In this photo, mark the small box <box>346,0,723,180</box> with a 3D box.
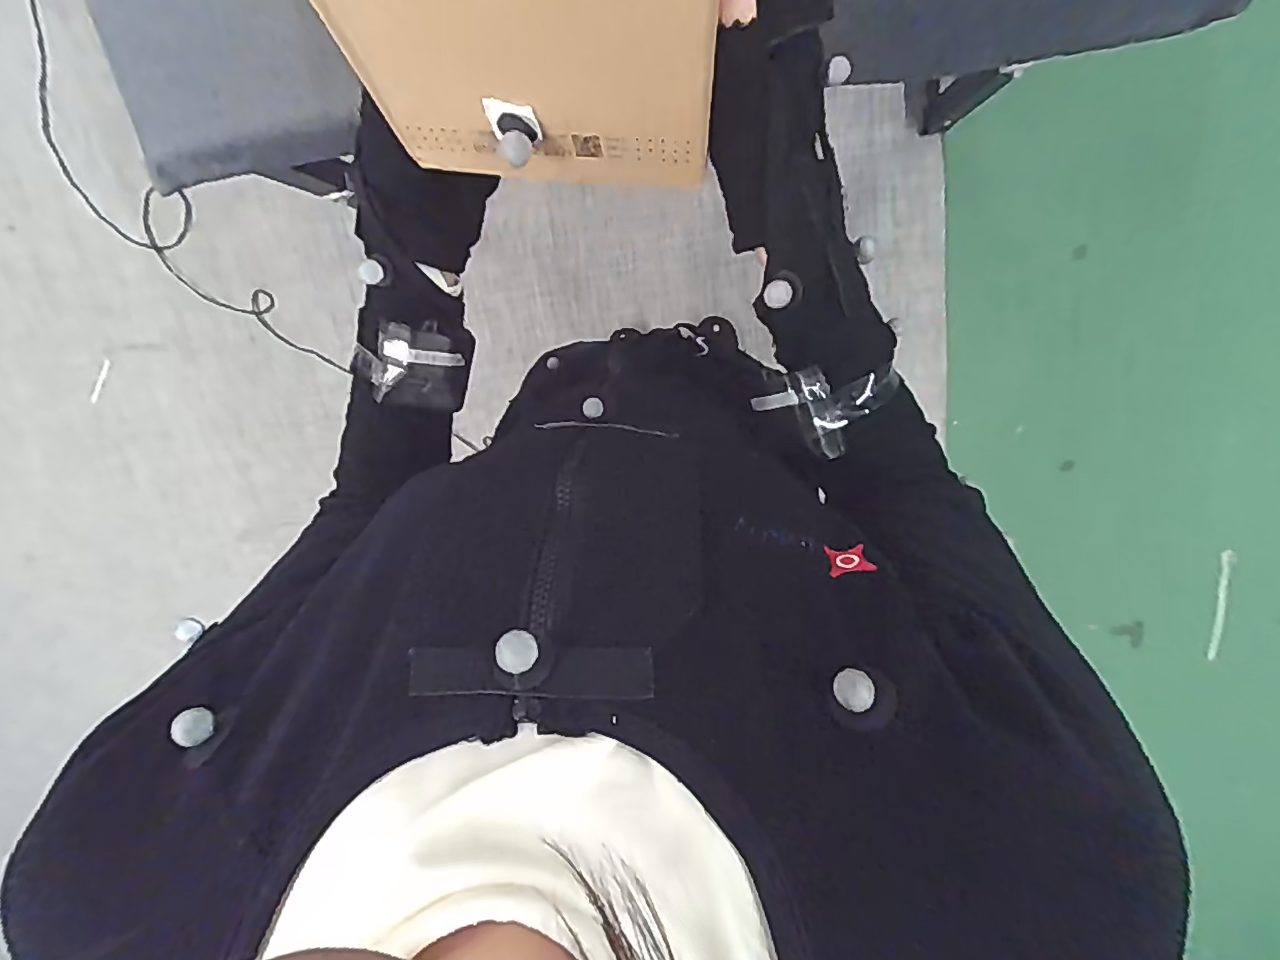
[{"bbox_3d":[-0.044,-0.275,0.246,0.168,0.176,0.179,5,81,6],"label":"small box"}]
